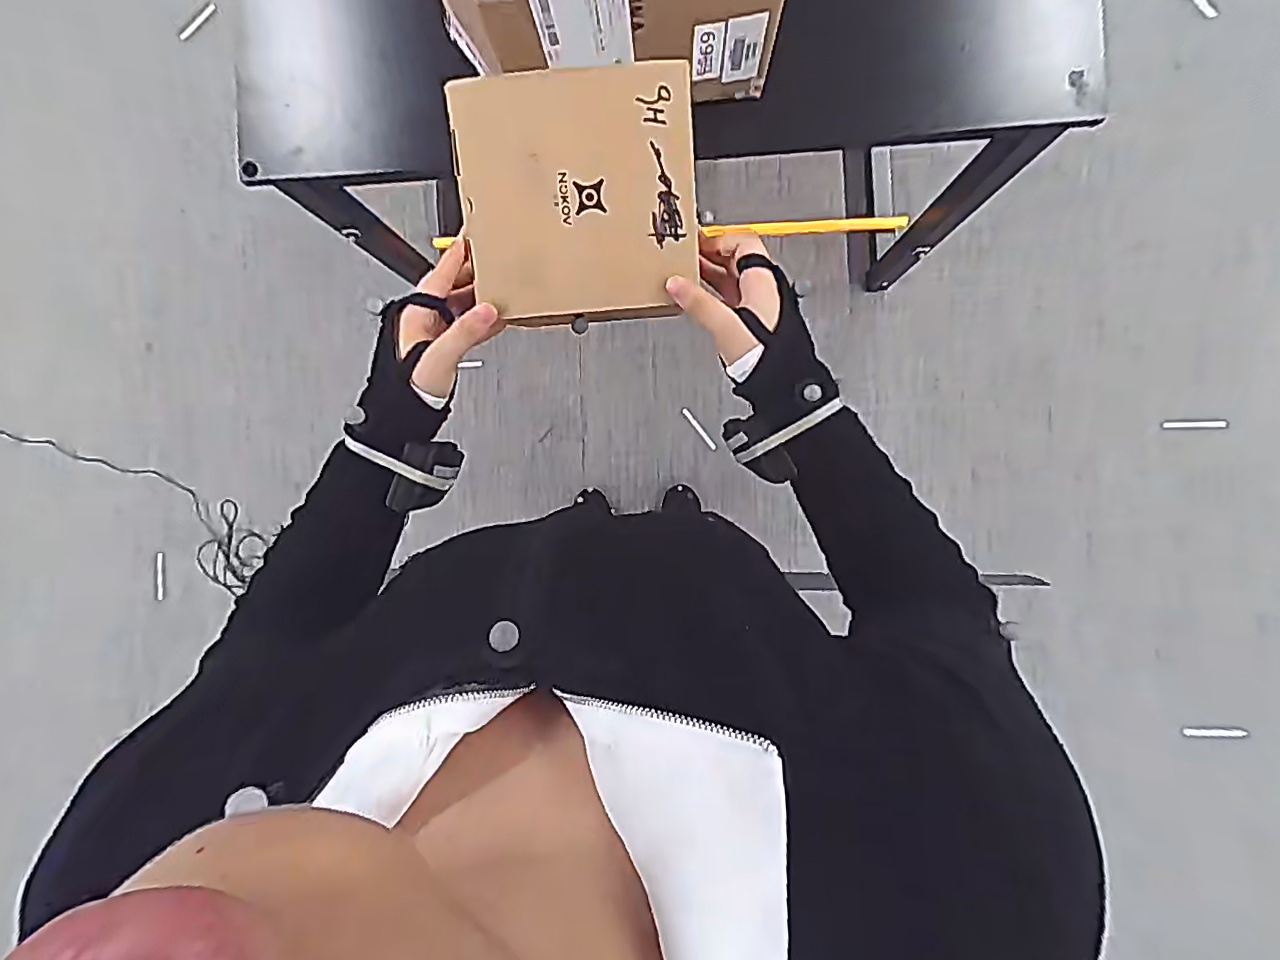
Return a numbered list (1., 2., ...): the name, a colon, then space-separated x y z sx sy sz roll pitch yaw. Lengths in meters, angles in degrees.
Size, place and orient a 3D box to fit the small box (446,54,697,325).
1. small box: -0.045 -0.230 0.474 0.179 0.176 0.168 -4 103 2
